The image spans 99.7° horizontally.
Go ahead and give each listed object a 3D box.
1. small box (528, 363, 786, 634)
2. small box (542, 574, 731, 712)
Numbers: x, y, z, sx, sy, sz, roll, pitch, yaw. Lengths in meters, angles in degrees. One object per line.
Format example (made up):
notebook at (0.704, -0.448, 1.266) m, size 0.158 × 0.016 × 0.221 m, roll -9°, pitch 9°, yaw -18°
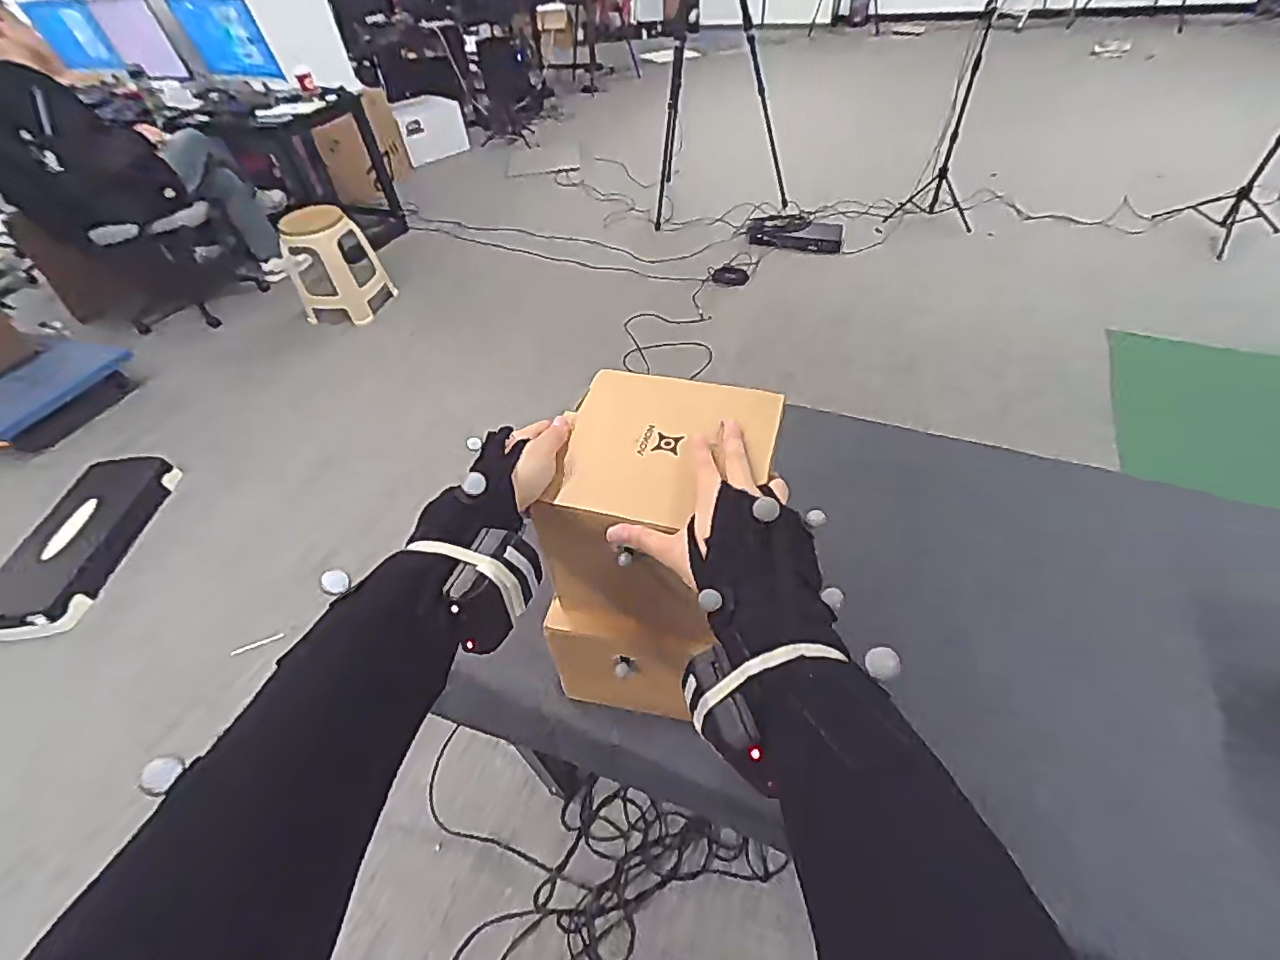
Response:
small box at (0.024, 0.019, 0.495) m, size 0.179 × 0.176 × 0.168 m, roll 11°, pitch 51°, yaw 13°
small box at (0.014, 0.140, 0.603) m, size 0.179 × 0.176 × 0.168 m, roll 7°, pitch 48°, yaw 11°
